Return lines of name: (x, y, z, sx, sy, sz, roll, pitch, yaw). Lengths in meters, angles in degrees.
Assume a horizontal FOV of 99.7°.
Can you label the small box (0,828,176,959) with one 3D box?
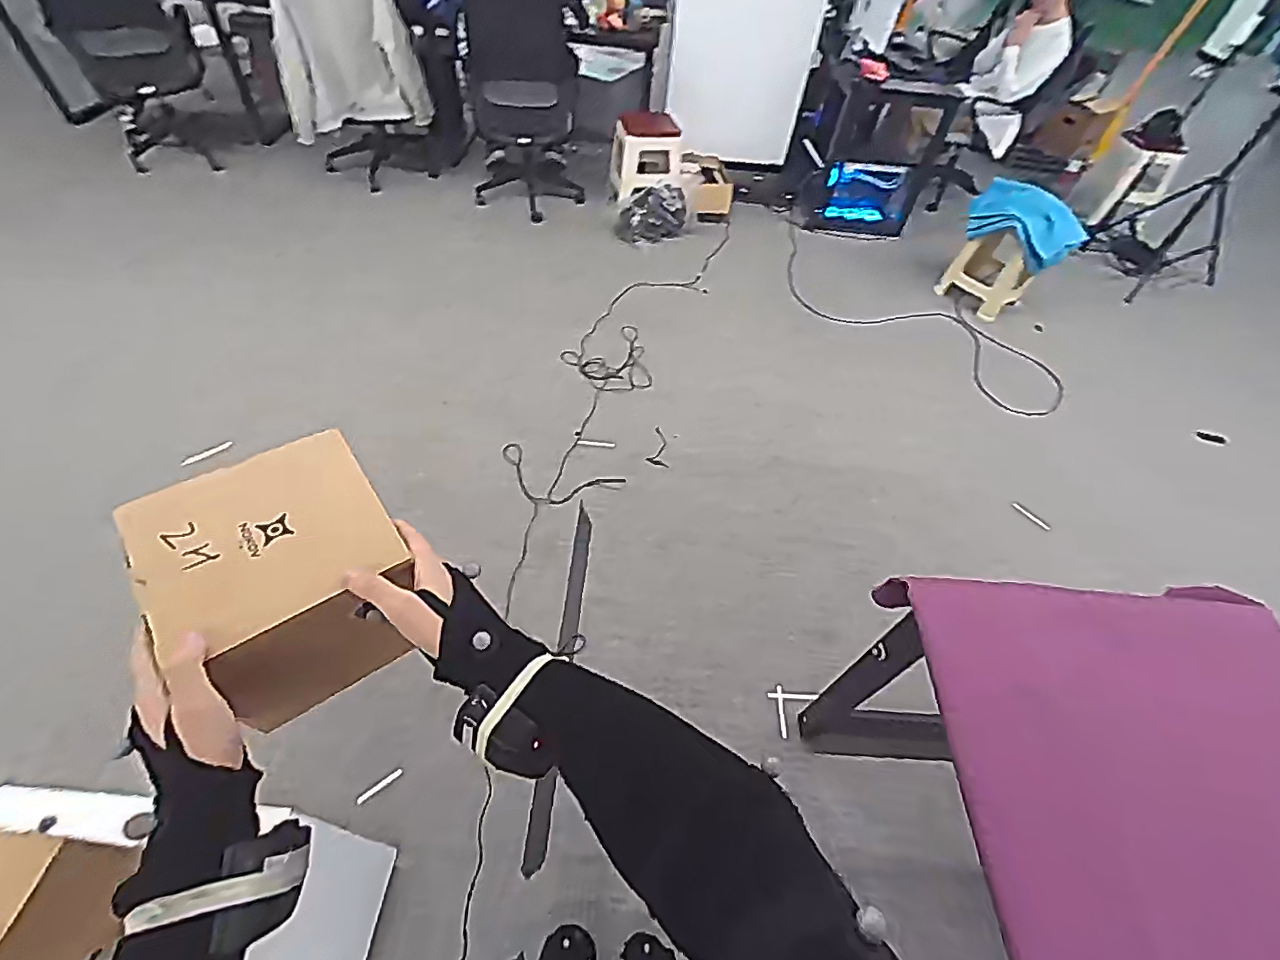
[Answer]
small box: (-0.572, 0.402, 0.461, 0.179, 0.176, 0.168, 7, 51, -1)
